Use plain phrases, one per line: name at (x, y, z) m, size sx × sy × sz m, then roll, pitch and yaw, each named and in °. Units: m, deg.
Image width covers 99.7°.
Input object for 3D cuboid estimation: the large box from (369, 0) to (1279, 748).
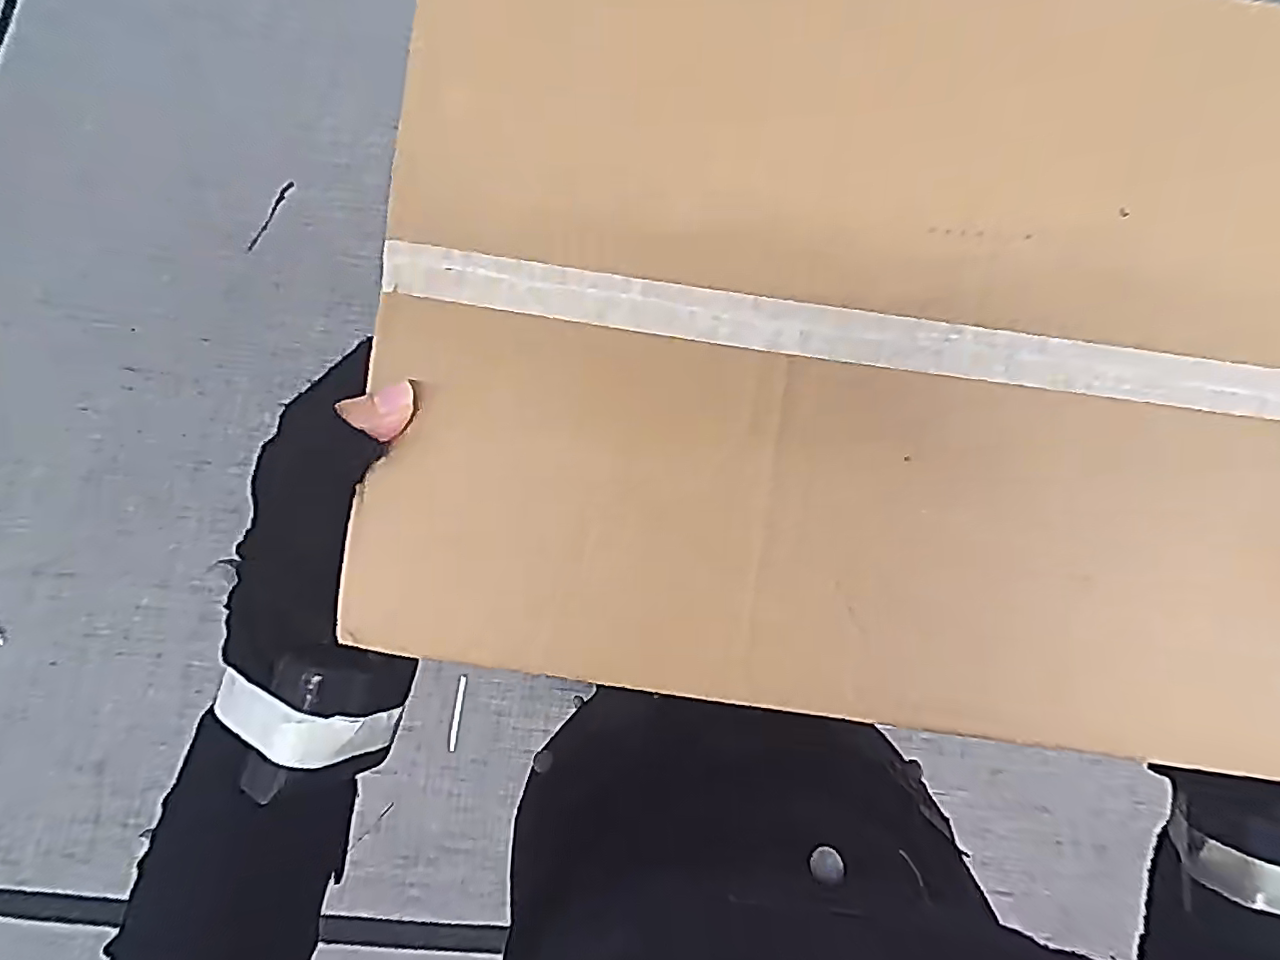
large box at (0.096, -0.059, 0.383) m, size 0.408 × 0.320 × 0.320 m, roll 8°, pitch 91°, yaw 0°
